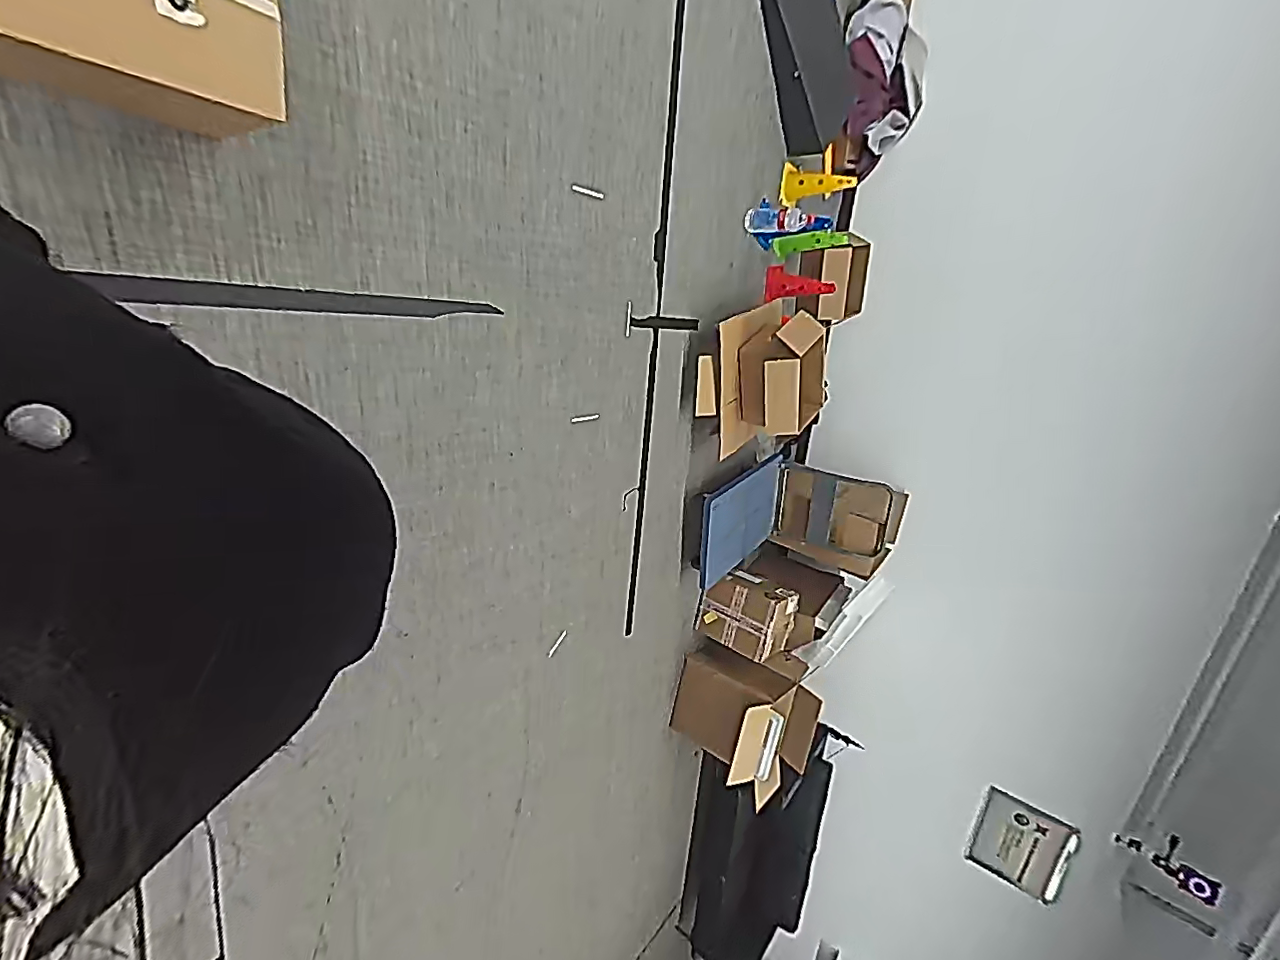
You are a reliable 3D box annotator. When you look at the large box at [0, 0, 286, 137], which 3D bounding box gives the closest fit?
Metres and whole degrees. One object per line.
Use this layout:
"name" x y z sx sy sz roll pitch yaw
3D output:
"large box" -0.833 -0.768 0.817 0.408 0.320 0.320 -15 117 -51
